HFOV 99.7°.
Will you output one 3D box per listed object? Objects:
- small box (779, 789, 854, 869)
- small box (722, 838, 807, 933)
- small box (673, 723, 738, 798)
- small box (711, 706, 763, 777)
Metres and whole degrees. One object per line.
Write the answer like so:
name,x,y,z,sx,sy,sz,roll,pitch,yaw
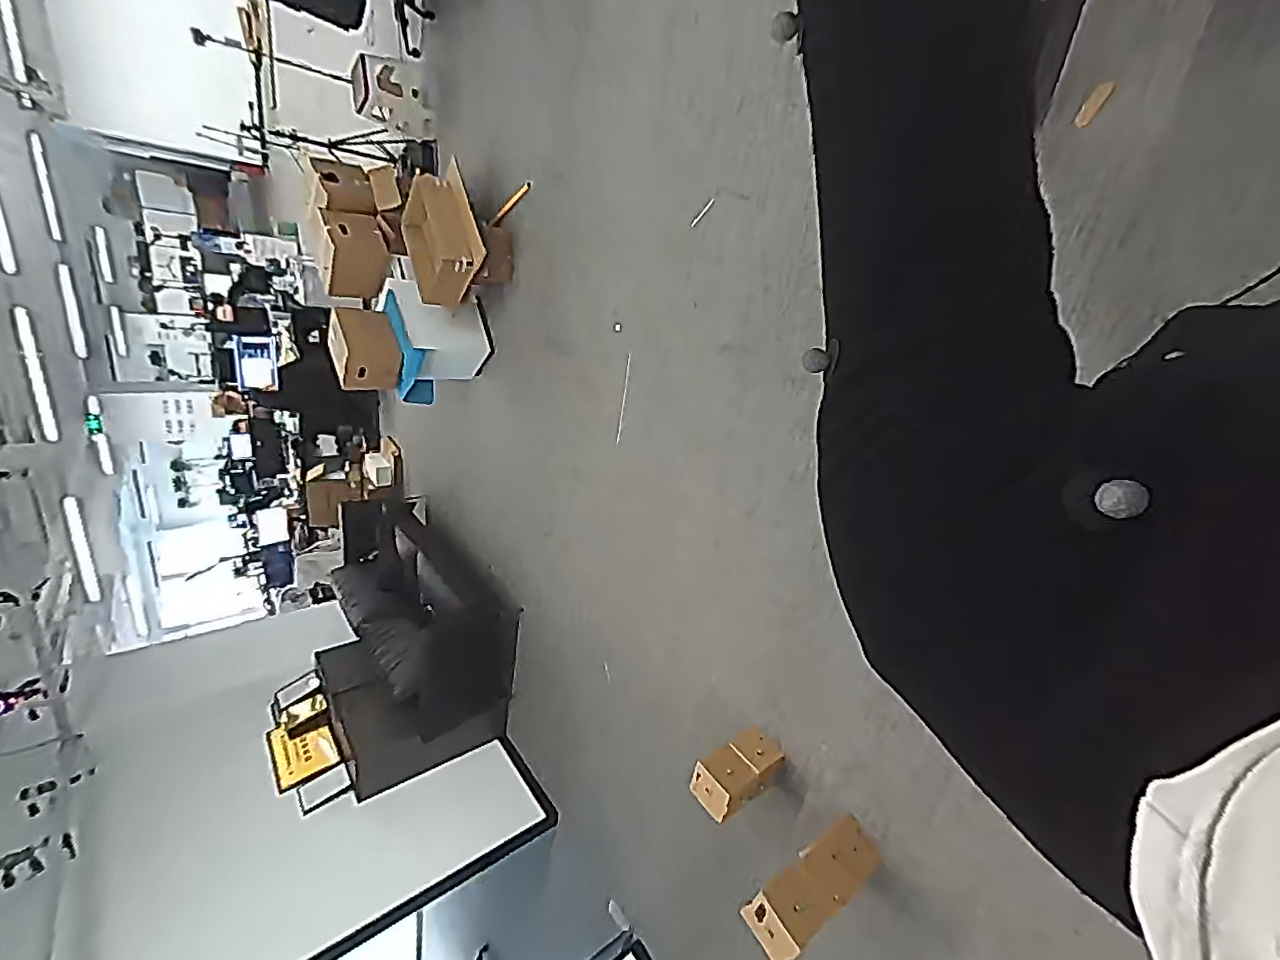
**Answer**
small box,0.656,1.278,1.990,0.168,0.176,0.179,52,134,29
small box,0.410,1.323,1.778,0.179,0.176,0.168,46,131,32
small box,0.264,1.110,2.157,0.179,0.176,0.168,34,123,39
small box,0.392,1.084,2.257,0.168,0.176,0.179,33,122,41
